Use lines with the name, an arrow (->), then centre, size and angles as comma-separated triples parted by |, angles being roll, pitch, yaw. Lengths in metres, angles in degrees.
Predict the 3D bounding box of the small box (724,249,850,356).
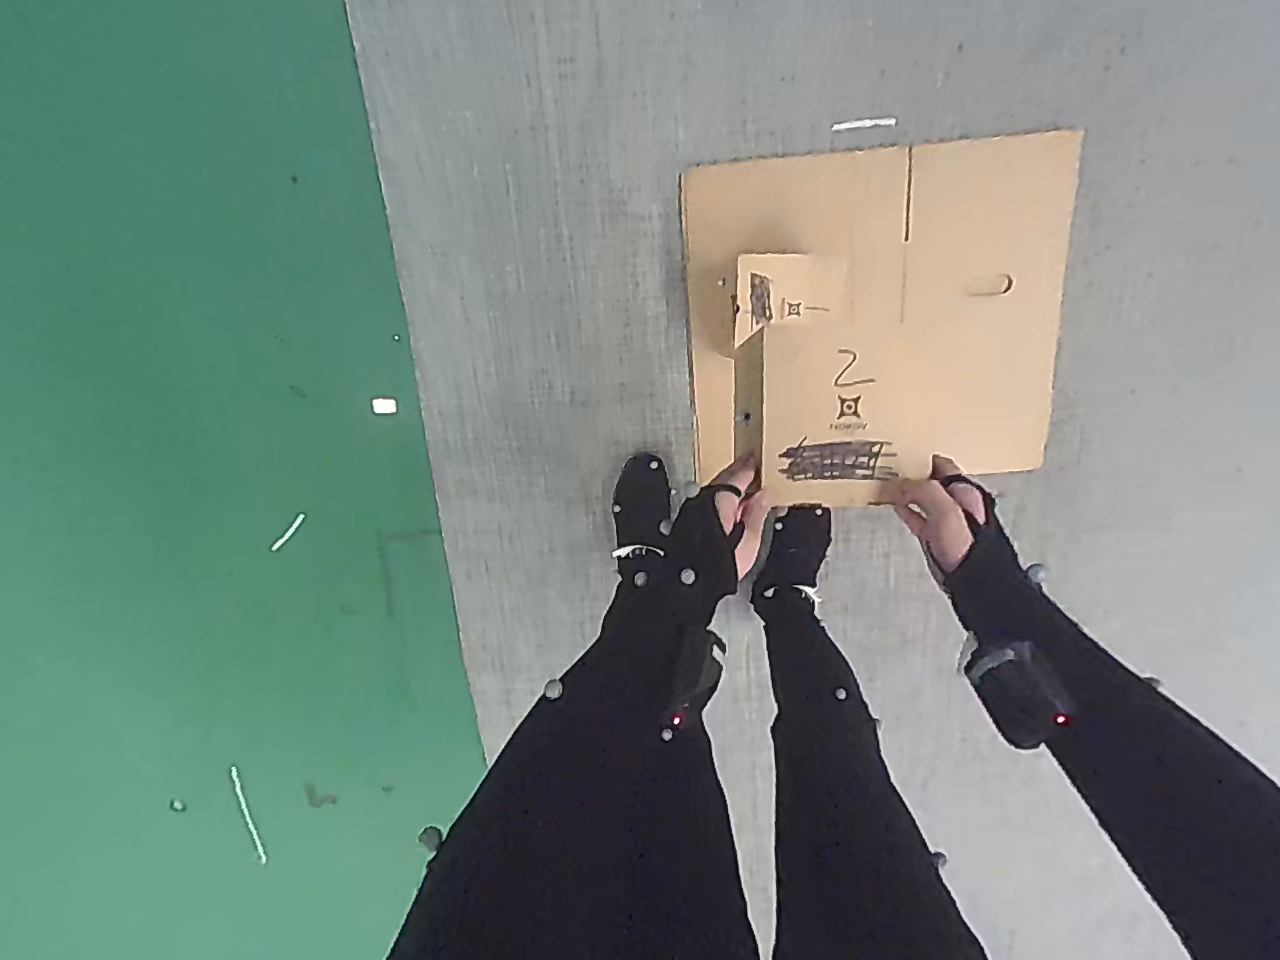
small box -> 0.243, -0.304, 0.941 | 0.179, 0.176, 0.168 | 0, 107, 1
